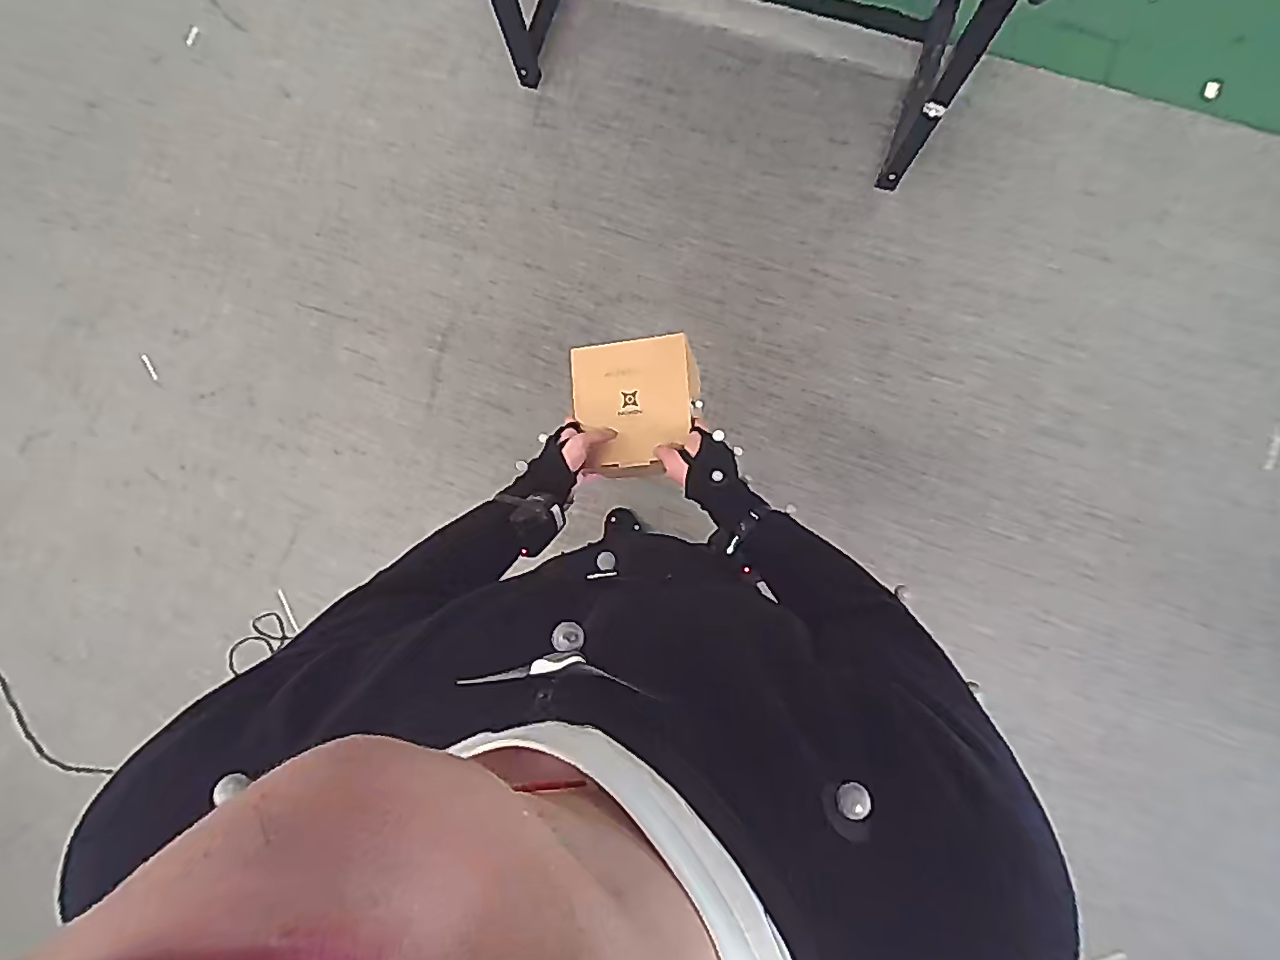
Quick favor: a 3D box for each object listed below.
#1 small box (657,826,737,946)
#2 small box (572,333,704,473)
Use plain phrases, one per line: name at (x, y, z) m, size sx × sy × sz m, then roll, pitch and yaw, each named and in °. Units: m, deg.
small box at (0.145, 1.074, 1.448) m, size 0.168 × 0.176 × 0.179 m, roll 17°, pitch 88°, yaw 1°
small box at (0.004, -0.105, 0.825) m, size 0.168 × 0.176 × 0.179 m, roll -6°, pitch 85°, yaw 10°
